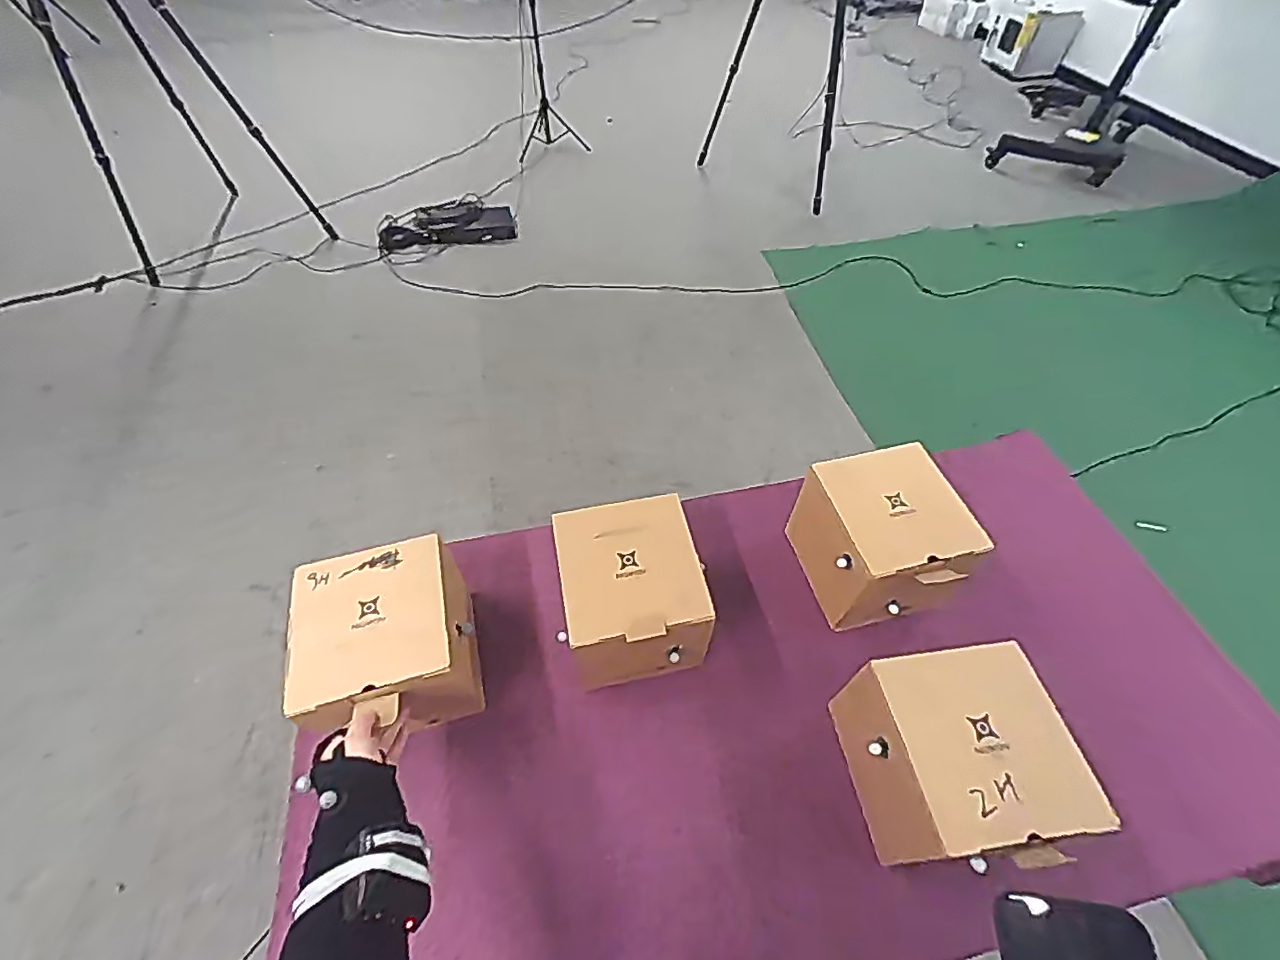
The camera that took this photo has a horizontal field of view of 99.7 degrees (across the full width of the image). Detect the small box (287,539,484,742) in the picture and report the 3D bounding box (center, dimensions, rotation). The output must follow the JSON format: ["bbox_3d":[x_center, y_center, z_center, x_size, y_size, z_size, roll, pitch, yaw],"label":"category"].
[{"bbox_3d":[-0.298,0.203,0.661,0.168,0.176,0.179,-14,55,-10],"label":"small box"}]

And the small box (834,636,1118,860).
[{"bbox_3d":[0.332,0.292,0.585,0.168,0.176,0.179,-7,53,-3],"label":"small box"}]

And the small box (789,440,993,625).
[{"bbox_3d":[0.326,0.075,0.750,0.168,0.176,0.179,-13,55,-8],"label":"small box"}]

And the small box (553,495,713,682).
[{"bbox_3d":[-0.013,0.147,0.701,0.168,0.176,0.179,-10,54,-8],"label":"small box"}]
